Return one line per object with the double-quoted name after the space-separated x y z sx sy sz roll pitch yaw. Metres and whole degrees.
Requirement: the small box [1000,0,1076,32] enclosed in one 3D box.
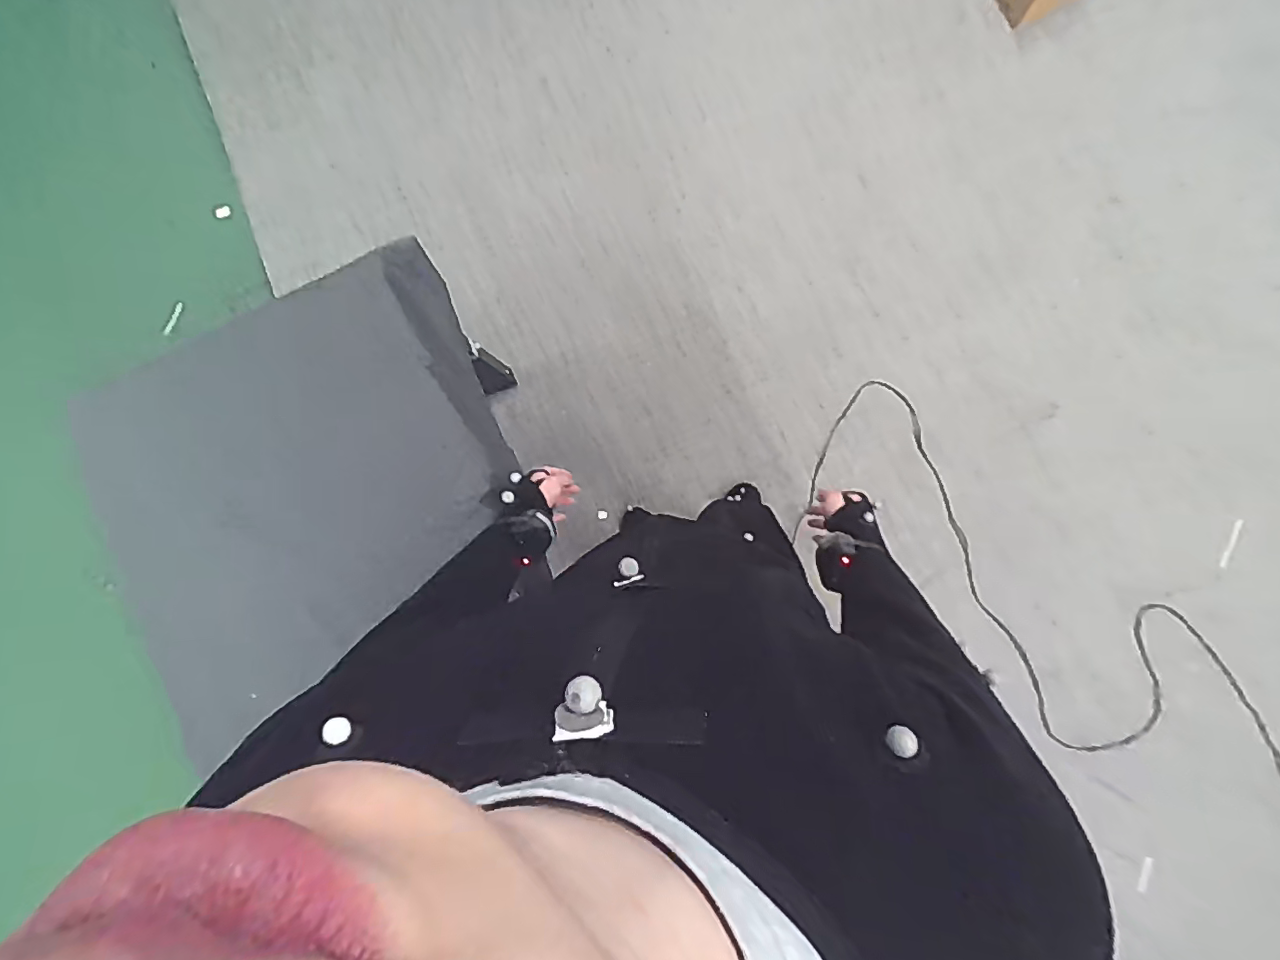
1.091 -1.355 1.435 0.179 0.176 0.168 -24 86 4 "small box"
